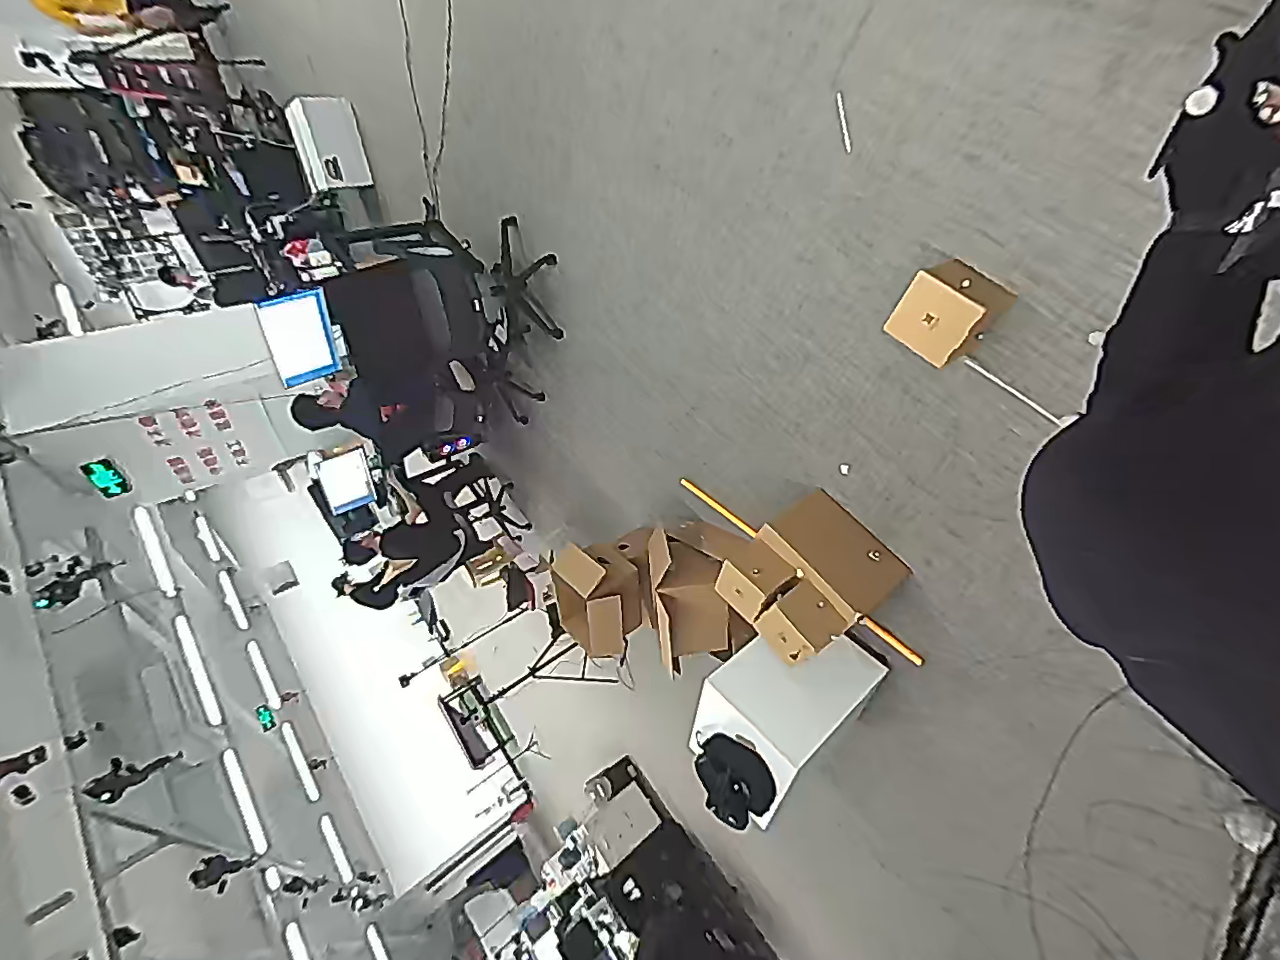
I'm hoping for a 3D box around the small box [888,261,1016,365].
[{"bbox_3d":[0.751,-0.410,1.306,0.179,0.176,0.168,46,144,24],"label":"small box"}]
